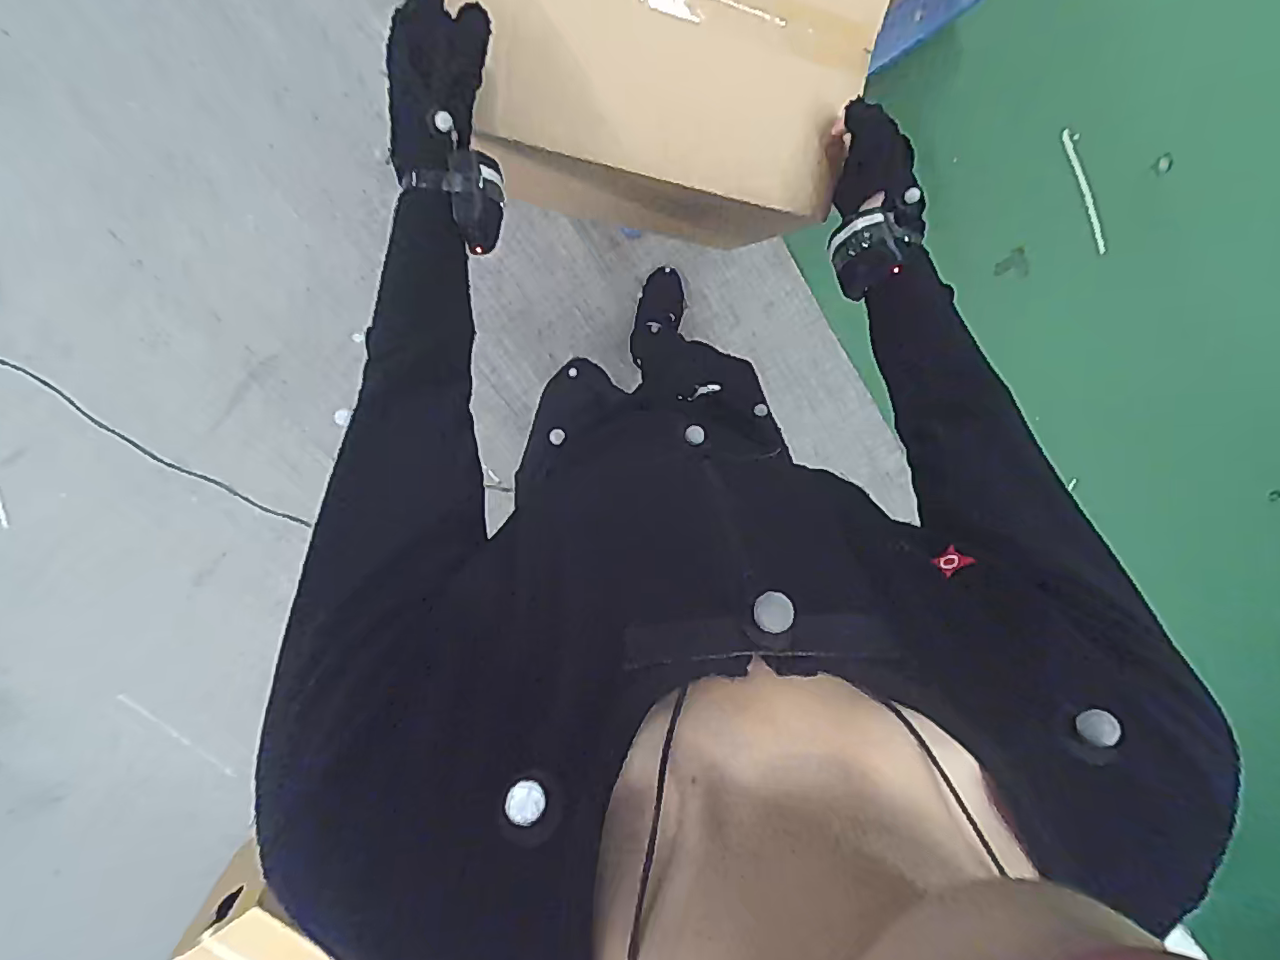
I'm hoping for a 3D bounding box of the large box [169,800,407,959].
[{"bbox_3d":[-0.944,1.199,1.504,0.320,0.320,0.408,-35,109,7],"label":"large box"}]
